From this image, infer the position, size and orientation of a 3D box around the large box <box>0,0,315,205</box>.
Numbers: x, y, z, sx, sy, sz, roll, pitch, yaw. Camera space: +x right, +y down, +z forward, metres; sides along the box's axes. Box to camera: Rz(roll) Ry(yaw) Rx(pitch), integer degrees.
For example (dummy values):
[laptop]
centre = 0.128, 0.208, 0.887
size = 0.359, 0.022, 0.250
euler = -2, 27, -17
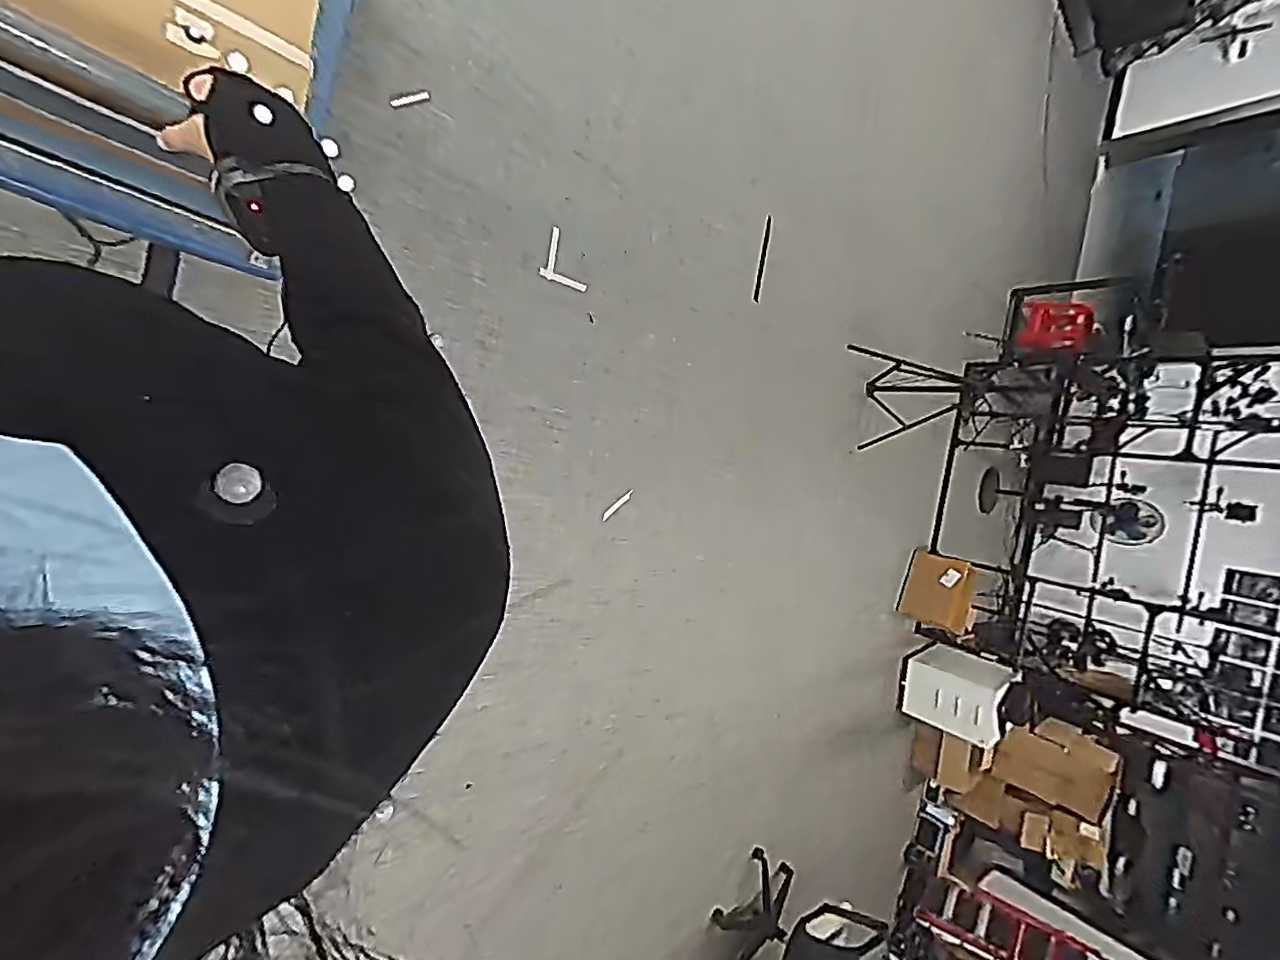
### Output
[large box]
centre = -0.772, -0.688, 0.821
size = 0.408, 0.320, 0.320
euler = 9, 92, -43
